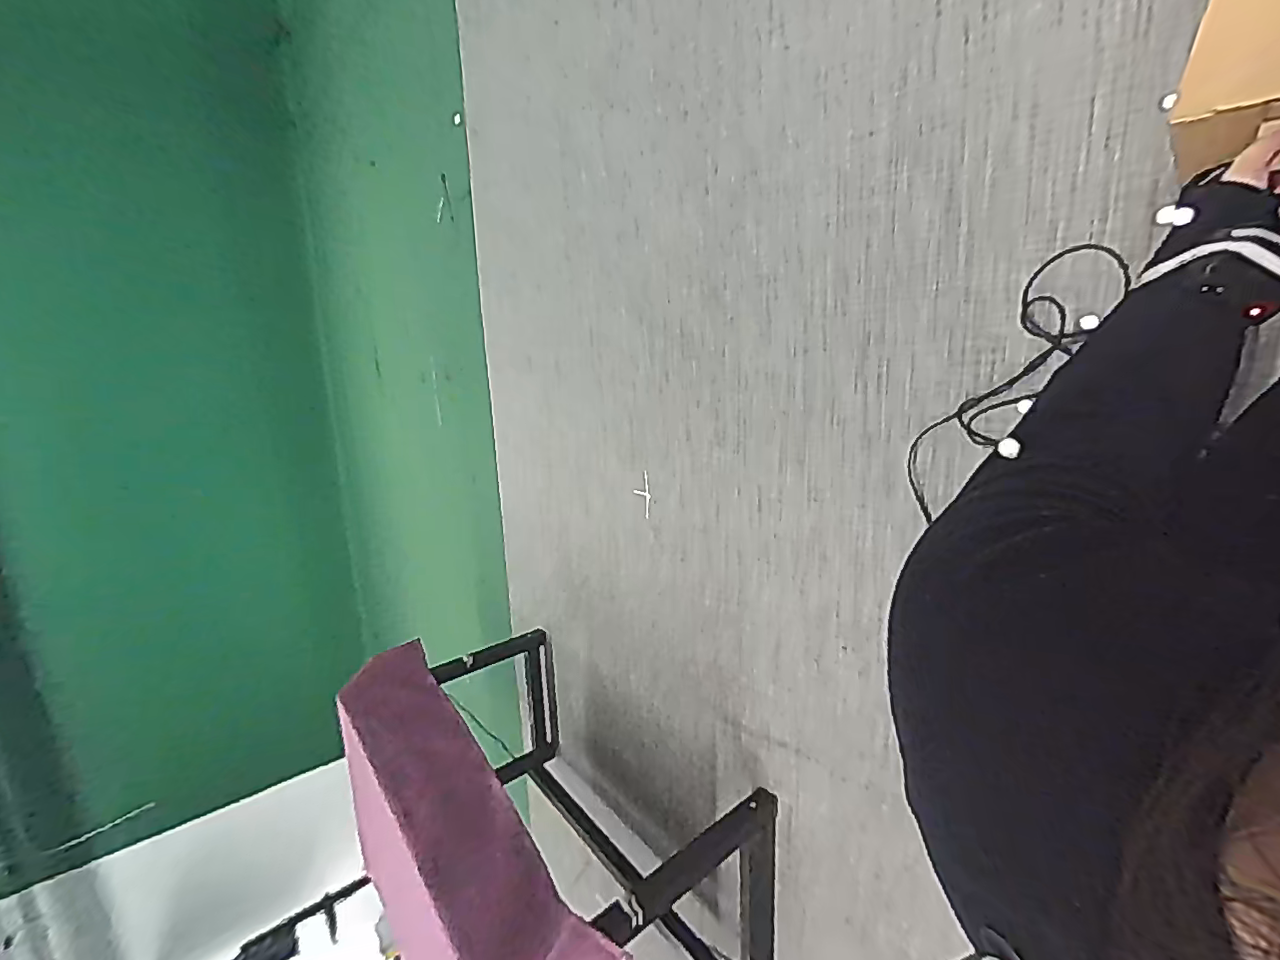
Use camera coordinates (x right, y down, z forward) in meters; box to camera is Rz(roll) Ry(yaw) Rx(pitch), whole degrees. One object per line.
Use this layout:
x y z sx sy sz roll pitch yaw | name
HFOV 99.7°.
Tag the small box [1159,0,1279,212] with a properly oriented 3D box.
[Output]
0.620 -0.376 0.491 0.168 0.176 0.179 24 100 49 | small box
